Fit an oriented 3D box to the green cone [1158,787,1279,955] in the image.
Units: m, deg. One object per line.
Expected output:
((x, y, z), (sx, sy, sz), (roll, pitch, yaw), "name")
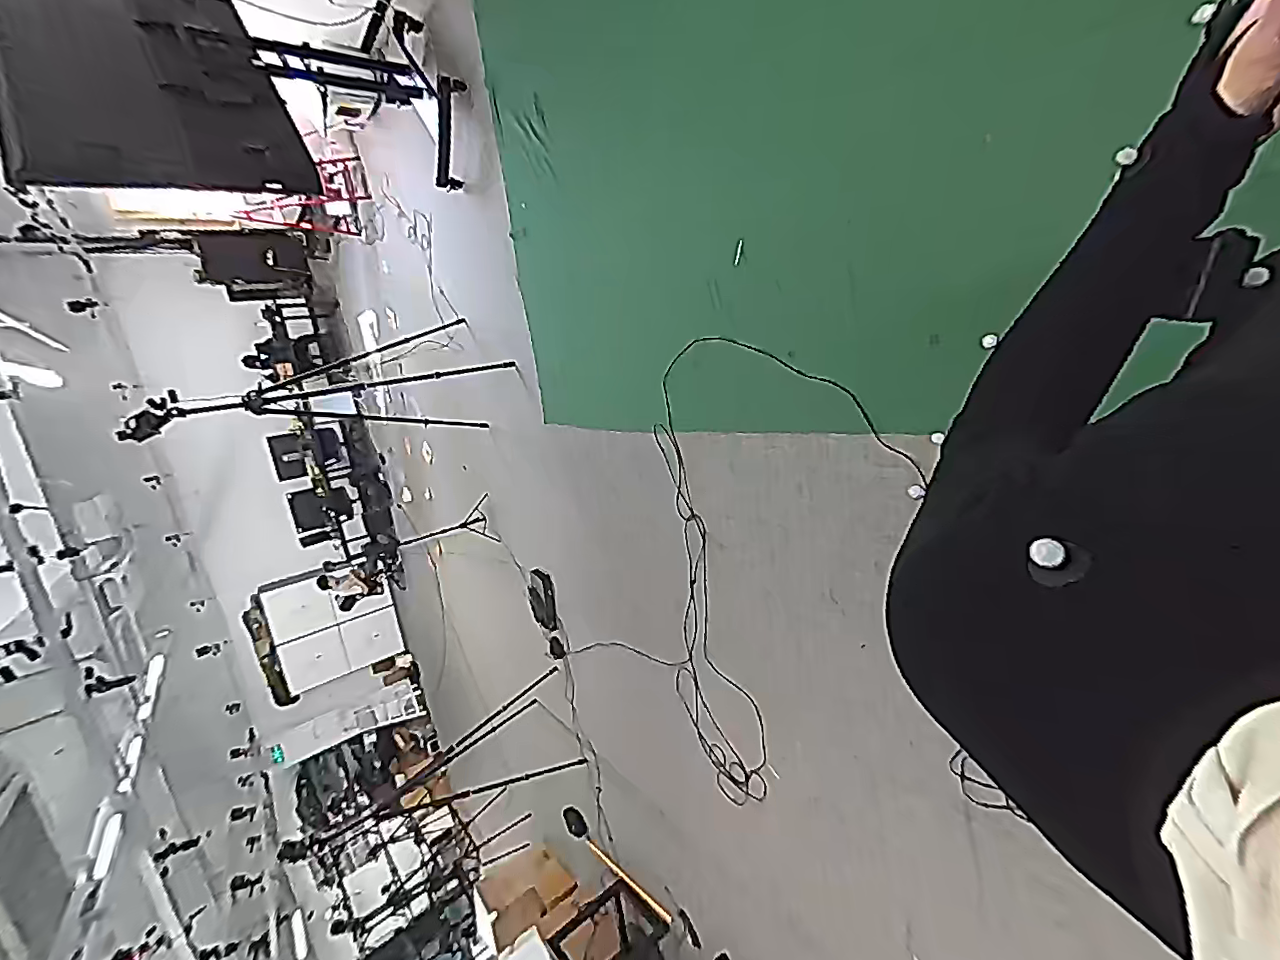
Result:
((1.247, 0.899, 1.193), (0.202, 0.368, 0.200), (10, 111, 52), "green cone")
